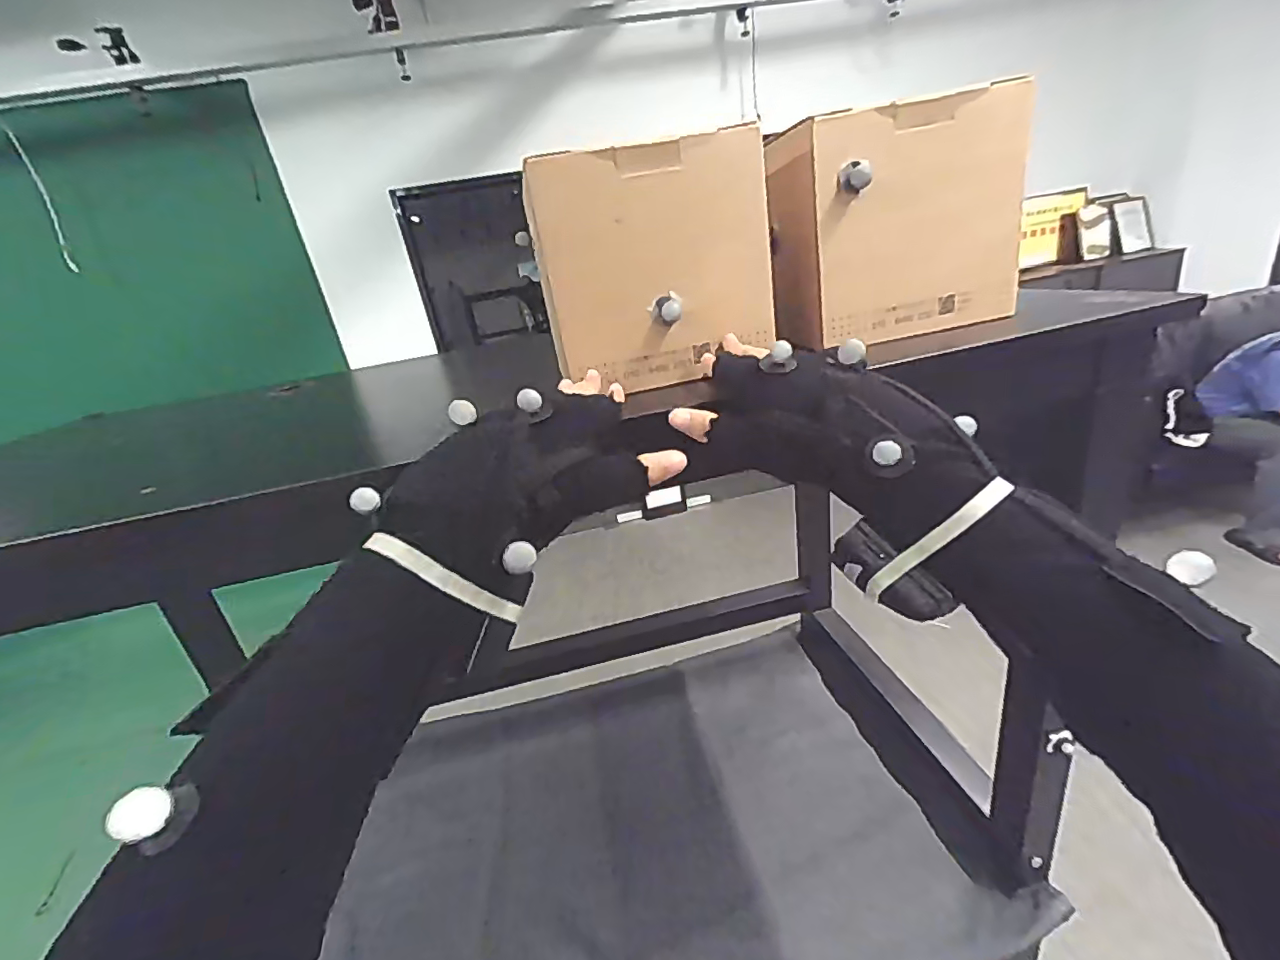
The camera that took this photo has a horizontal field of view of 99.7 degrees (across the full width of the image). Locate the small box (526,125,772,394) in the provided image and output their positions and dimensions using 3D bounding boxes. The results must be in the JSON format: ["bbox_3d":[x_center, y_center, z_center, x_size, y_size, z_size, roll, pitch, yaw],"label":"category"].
[{"bbox_3d":[0.002,-0.179,0.467,0.168,0.176,0.179,-13,22,-7],"label":"small box"}]
